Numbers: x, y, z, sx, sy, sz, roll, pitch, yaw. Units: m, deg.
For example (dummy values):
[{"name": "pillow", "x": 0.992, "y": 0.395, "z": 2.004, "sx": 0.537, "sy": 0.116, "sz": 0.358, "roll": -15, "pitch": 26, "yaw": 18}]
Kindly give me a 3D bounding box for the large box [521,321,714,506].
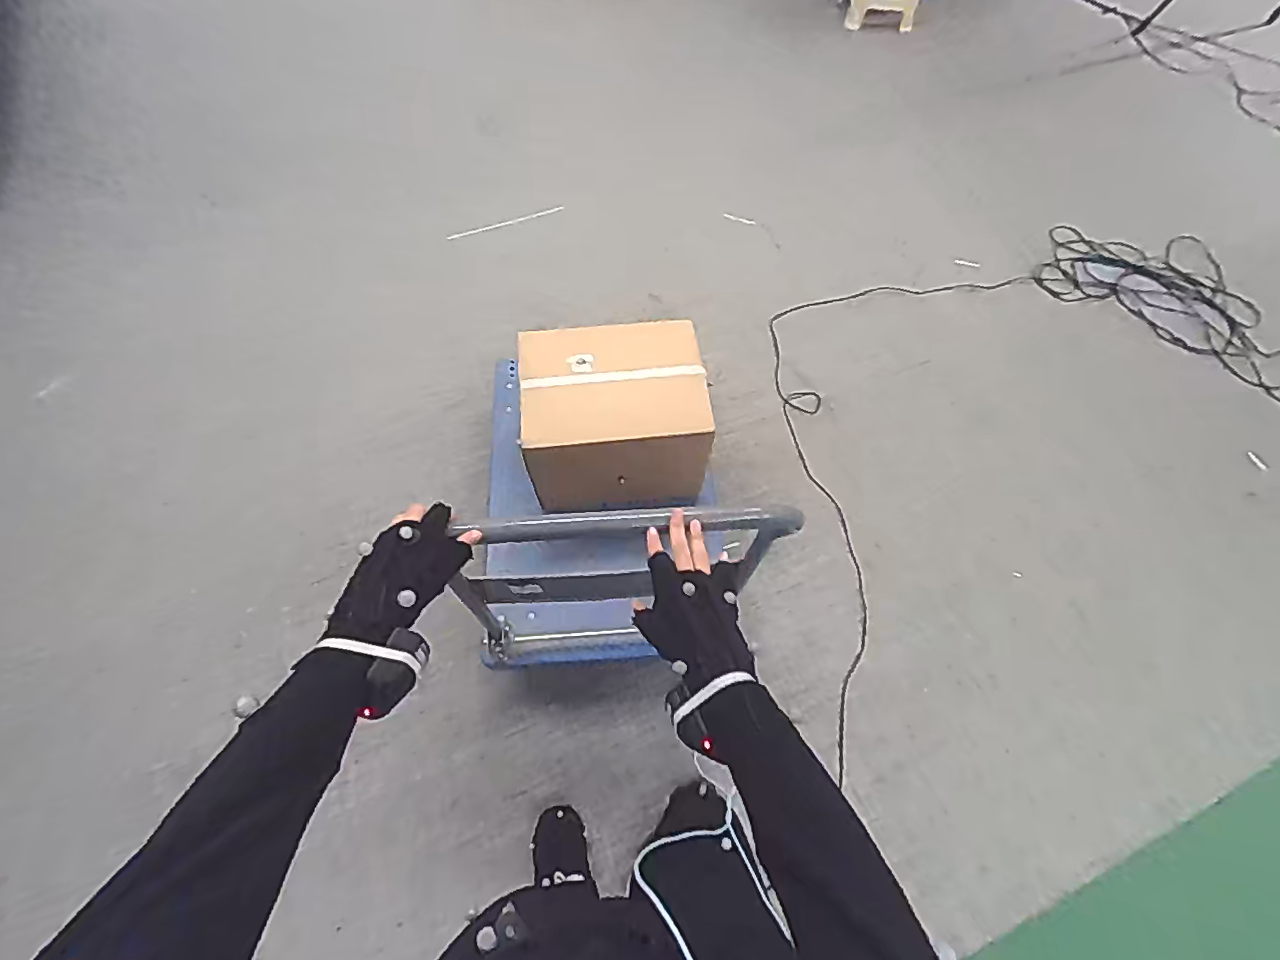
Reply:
[{"name": "large box", "x": -0.058, "y": -0.149, "z": 1.317, "sx": 0.408, "sy": 0.320, "sz": 0.320, "roll": -5, "pitch": 63, "yaw": -3}]
